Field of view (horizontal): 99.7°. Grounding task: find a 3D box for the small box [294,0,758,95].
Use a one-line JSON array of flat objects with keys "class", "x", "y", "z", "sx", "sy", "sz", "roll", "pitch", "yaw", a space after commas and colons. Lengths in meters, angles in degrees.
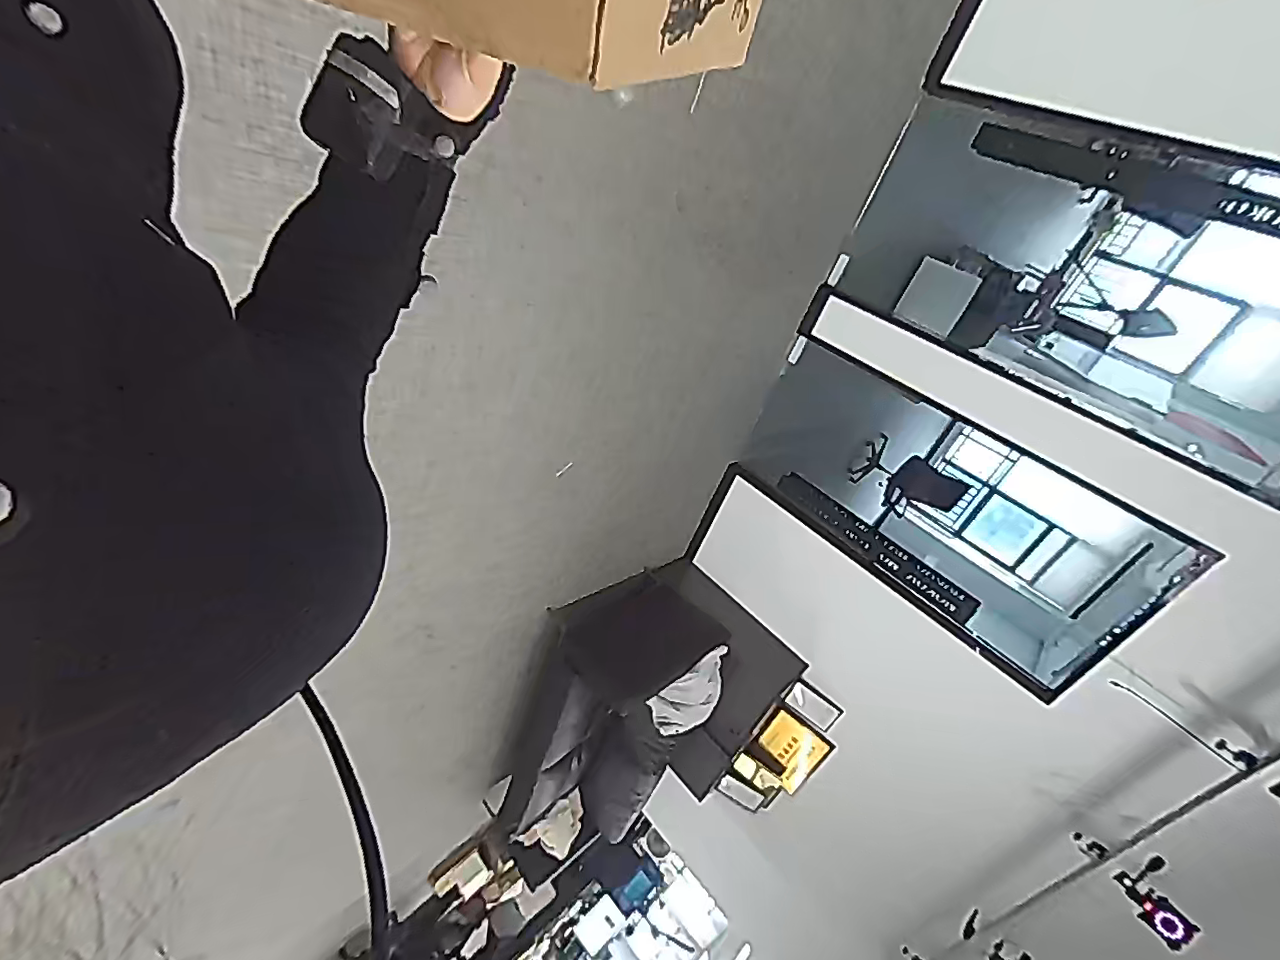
[{"class": "small box", "x": -0.039, "y": -0.273, "z": 0.202, "sx": 0.168, "sy": 0.176, "sz": 0.179, "roll": -53, "pitch": 163, "yaw": -43}]
